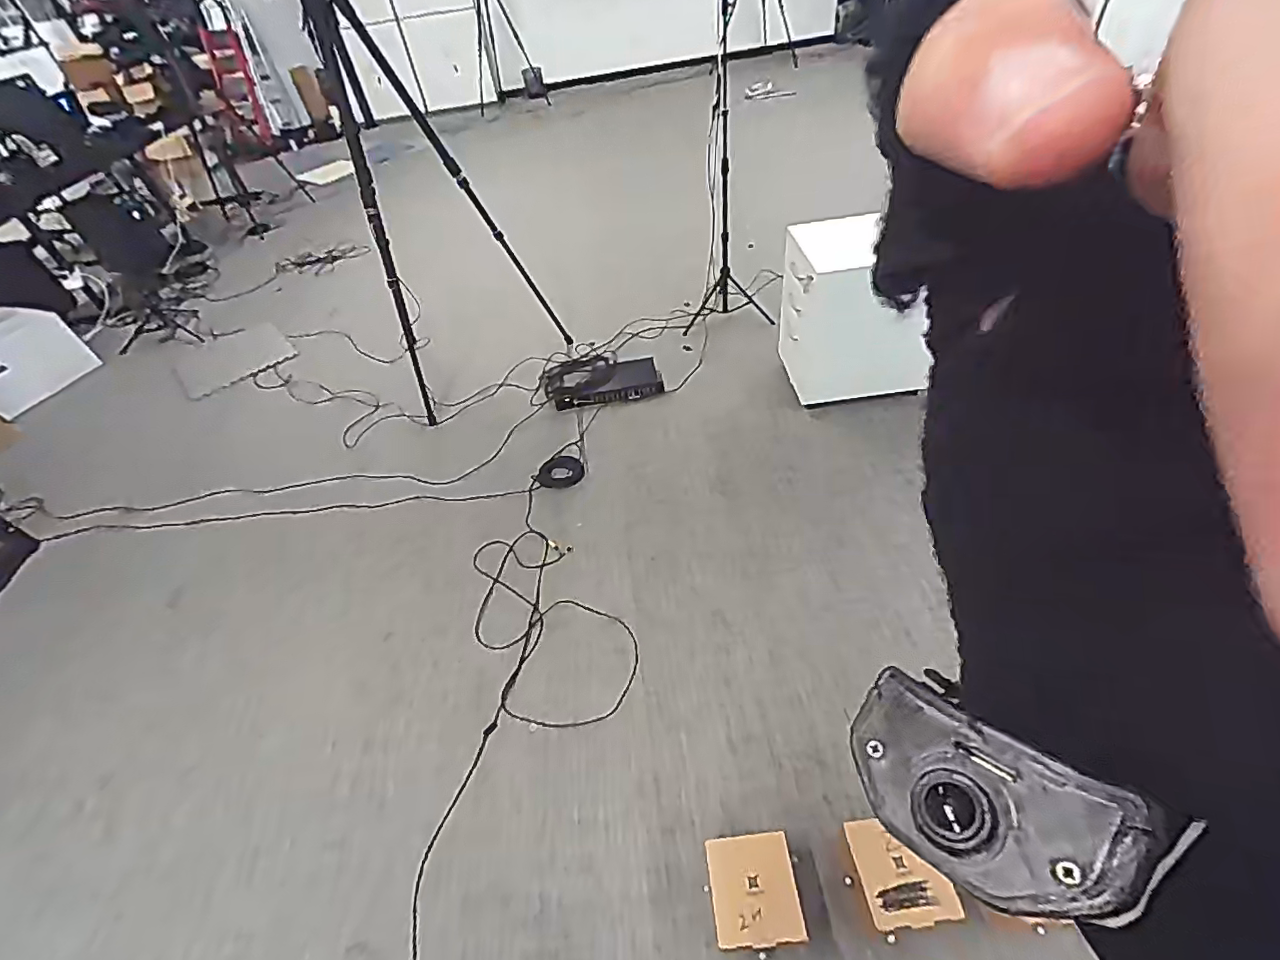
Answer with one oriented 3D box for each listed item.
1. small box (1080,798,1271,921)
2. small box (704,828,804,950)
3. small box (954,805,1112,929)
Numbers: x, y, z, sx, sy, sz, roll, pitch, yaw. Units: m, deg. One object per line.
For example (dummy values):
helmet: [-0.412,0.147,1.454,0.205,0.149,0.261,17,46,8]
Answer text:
small box: [1.037,0.754,1.069,0.168,0.176,0.179,-7,46,2]
small box: [0.224,0.839,1.108,0.168,0.176,0.179,-8,46,2]
small box: [0.770,0.778,1.086,0.168,0.176,0.179,-7,47,2]
